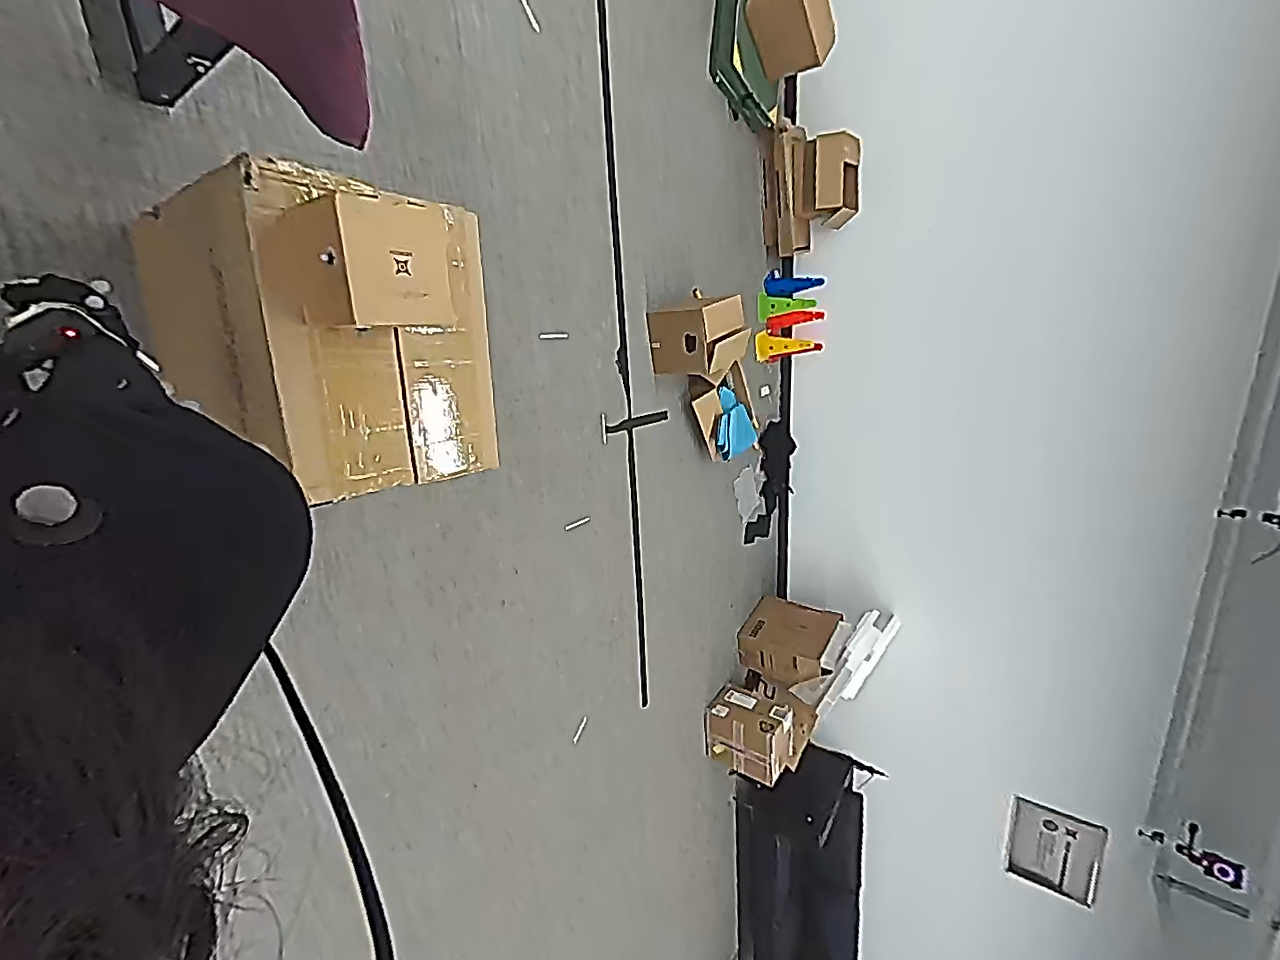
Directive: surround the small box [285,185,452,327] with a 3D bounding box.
[{"bbox_3d":[-0.419,-0.332,0.837,0.168,0.176,0.179,-20,114,-49],"label":"small box"}]
